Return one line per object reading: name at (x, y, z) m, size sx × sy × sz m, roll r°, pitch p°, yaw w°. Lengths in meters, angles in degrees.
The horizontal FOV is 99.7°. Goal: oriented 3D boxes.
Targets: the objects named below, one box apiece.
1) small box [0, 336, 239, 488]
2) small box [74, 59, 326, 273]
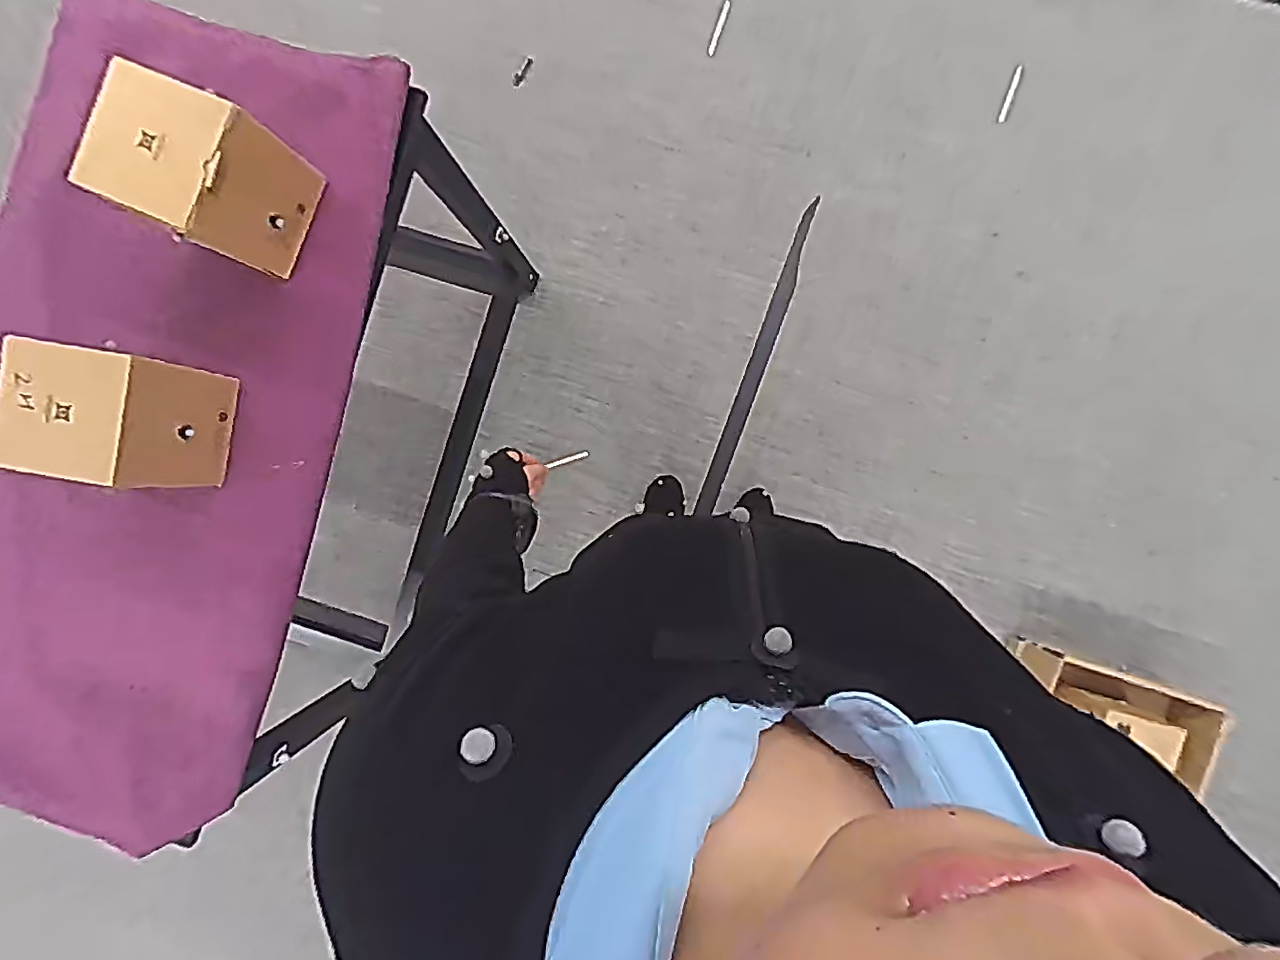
small box at (-0.704, -0.086, 0.746) m, size 0.179 × 0.176 × 0.168 m, roll 10°, pitch 91°, yaw 4°
small box at (-0.580, -0.409, 0.736) m, size 0.179 × 0.176 × 0.168 m, roll 23°, pitch 92°, yaw 5°
